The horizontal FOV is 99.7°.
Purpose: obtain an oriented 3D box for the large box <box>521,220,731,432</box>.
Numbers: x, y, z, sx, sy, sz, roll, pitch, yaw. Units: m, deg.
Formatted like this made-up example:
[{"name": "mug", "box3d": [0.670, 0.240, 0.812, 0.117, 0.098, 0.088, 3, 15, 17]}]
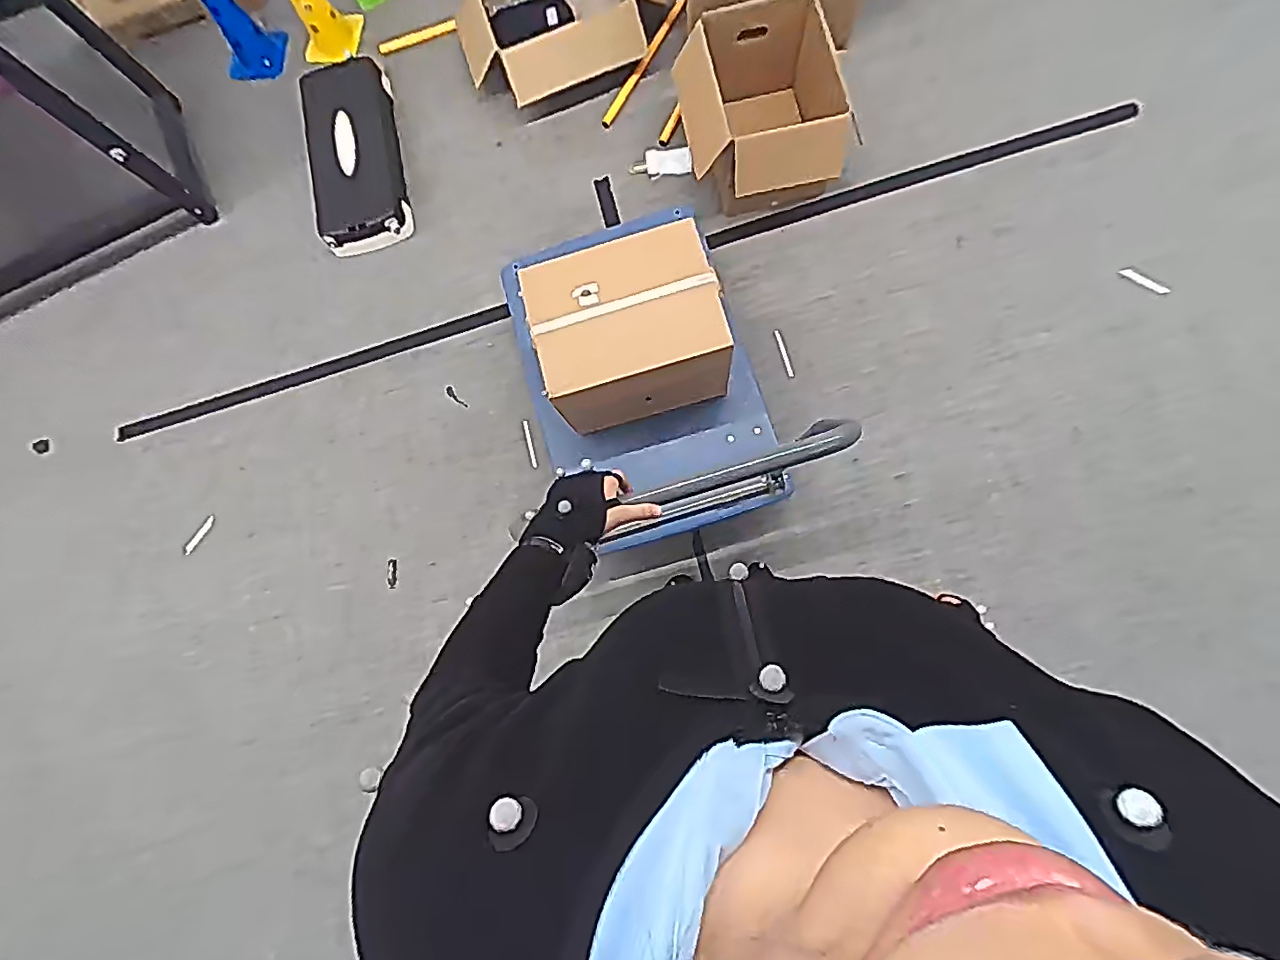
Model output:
[{"name": "large box", "box3d": [-0.019, -0.346, 1.308, 0.408, 0.320, 0.320, -16, 78, 4]}]
